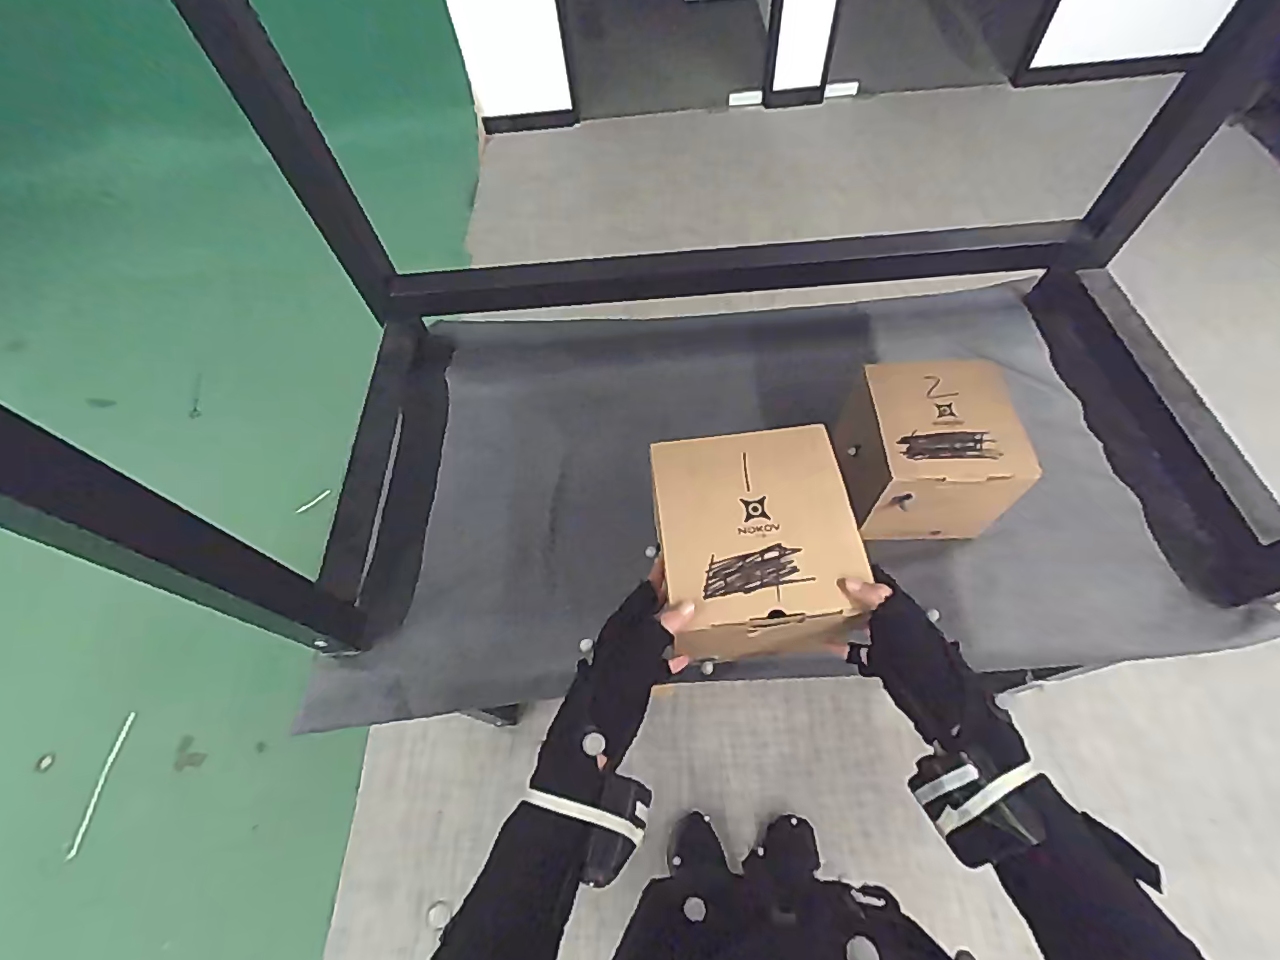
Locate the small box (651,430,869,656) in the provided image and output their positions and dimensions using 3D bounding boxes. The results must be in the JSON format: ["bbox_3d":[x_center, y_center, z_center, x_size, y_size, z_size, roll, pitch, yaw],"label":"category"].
[{"bbox_3d":[0.106,0.074,0.549,0.168,0.176,0.179,-7,61,1],"label":"small box"}]
